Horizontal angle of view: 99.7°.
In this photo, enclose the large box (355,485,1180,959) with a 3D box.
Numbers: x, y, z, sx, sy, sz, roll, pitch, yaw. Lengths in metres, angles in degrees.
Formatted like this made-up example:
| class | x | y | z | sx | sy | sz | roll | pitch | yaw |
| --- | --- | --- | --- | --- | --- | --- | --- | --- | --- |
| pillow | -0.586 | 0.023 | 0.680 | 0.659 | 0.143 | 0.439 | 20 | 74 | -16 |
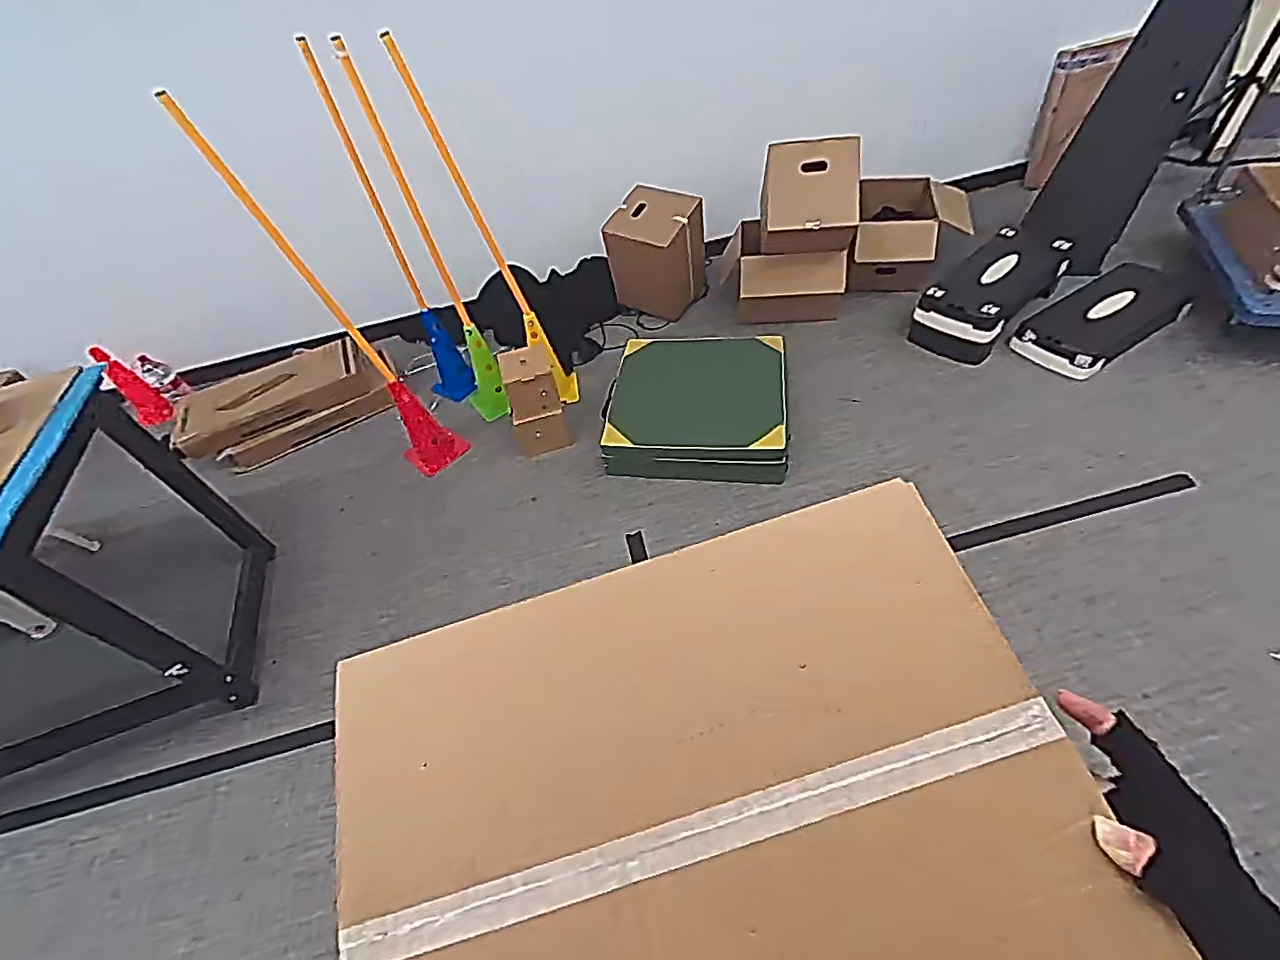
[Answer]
| class | x | y | z | sx | sy | sz | roll | pitch | yaw |
| --- | --- | --- | --- | --- | --- | --- | --- | --- | --- |
| large box | 0.056 | 0.257 | 0.437 | 0.408 | 0.320 | 0.320 | -19 | 61 | 0 |
